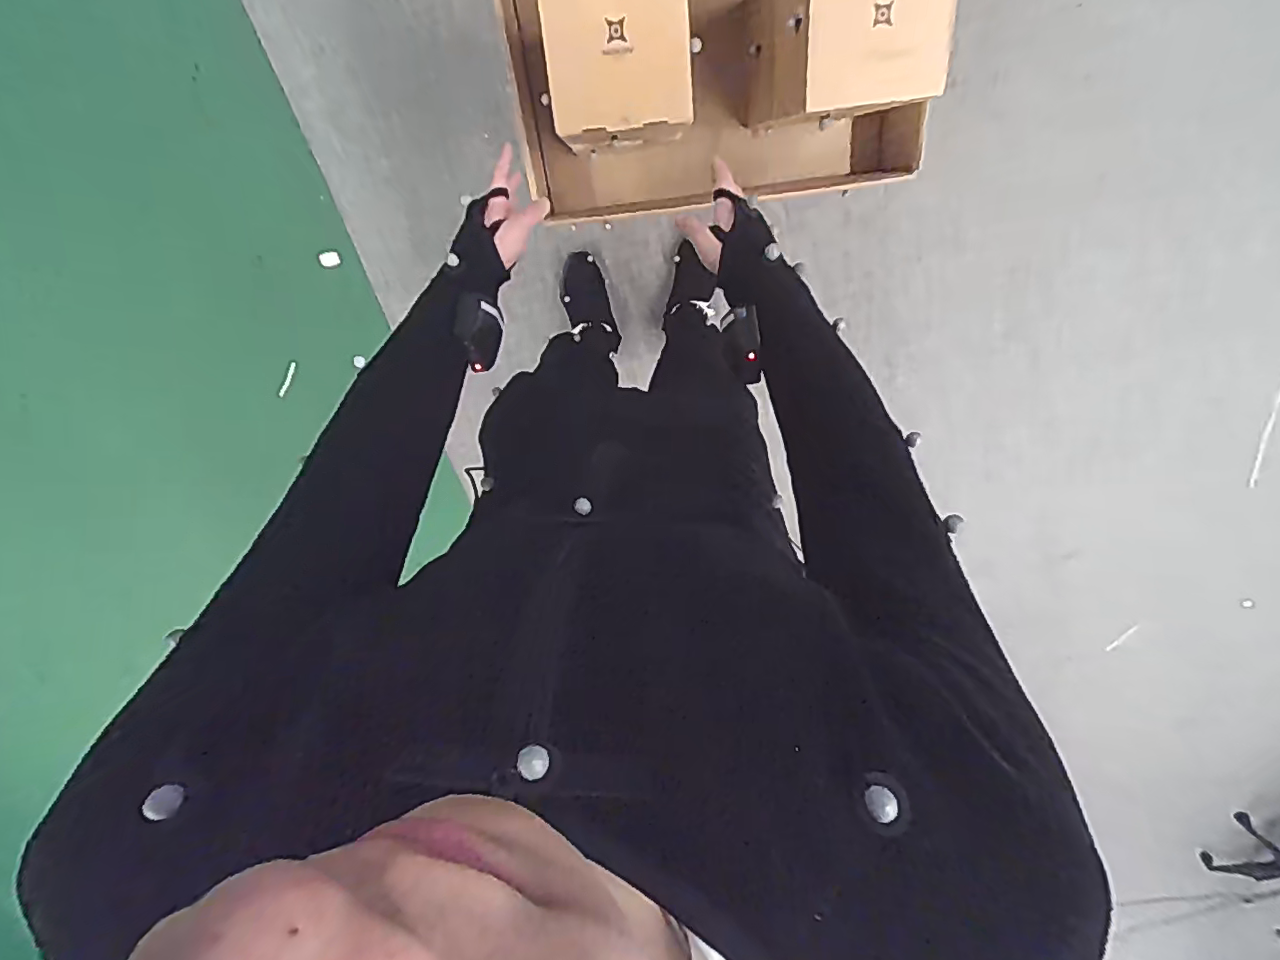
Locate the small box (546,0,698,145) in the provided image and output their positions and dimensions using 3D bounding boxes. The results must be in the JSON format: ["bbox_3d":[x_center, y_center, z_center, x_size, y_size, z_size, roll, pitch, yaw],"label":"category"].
[{"bbox_3d":[-0.023,-0.531,0.671,0.168,0.176,0.179,-6,119,1],"label":"small box"}]

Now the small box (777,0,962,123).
[{"bbox_3d":[0.270,-0.558,0.666,0.168,0.176,0.179,-6,120,2],"label":"small box"}]
